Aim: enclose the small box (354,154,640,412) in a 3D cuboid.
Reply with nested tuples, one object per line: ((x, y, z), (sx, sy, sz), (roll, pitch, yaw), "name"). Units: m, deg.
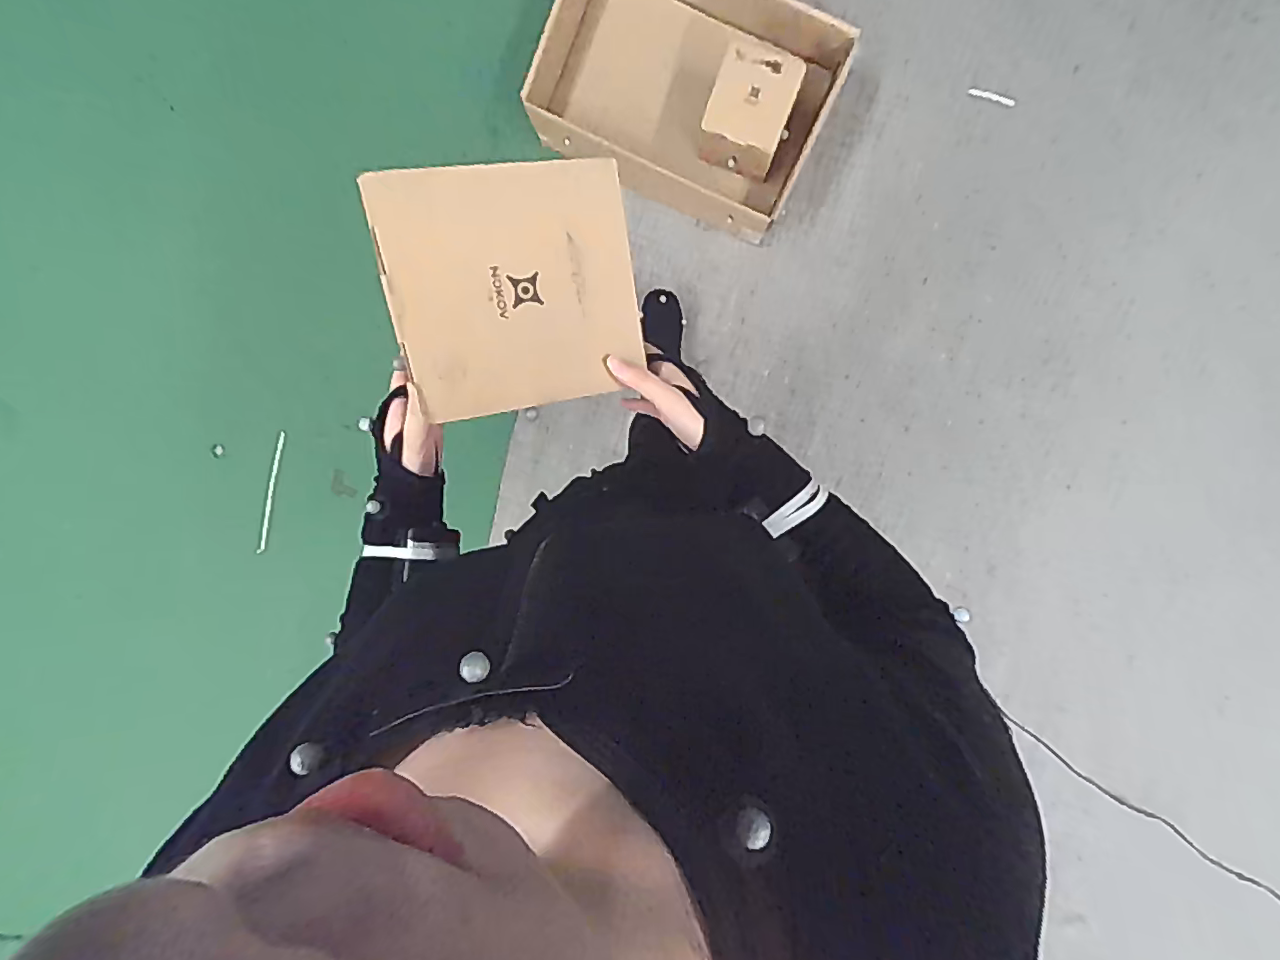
((-0.116, -0.157, 0.462), (0.179, 0.176, 0.168), (-13, 106, -16), "small box")

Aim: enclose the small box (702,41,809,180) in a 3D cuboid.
((0.245, -0.789, 1.176), (0.168, 0.176, 0.179), (22, 102, 2), "small box")
